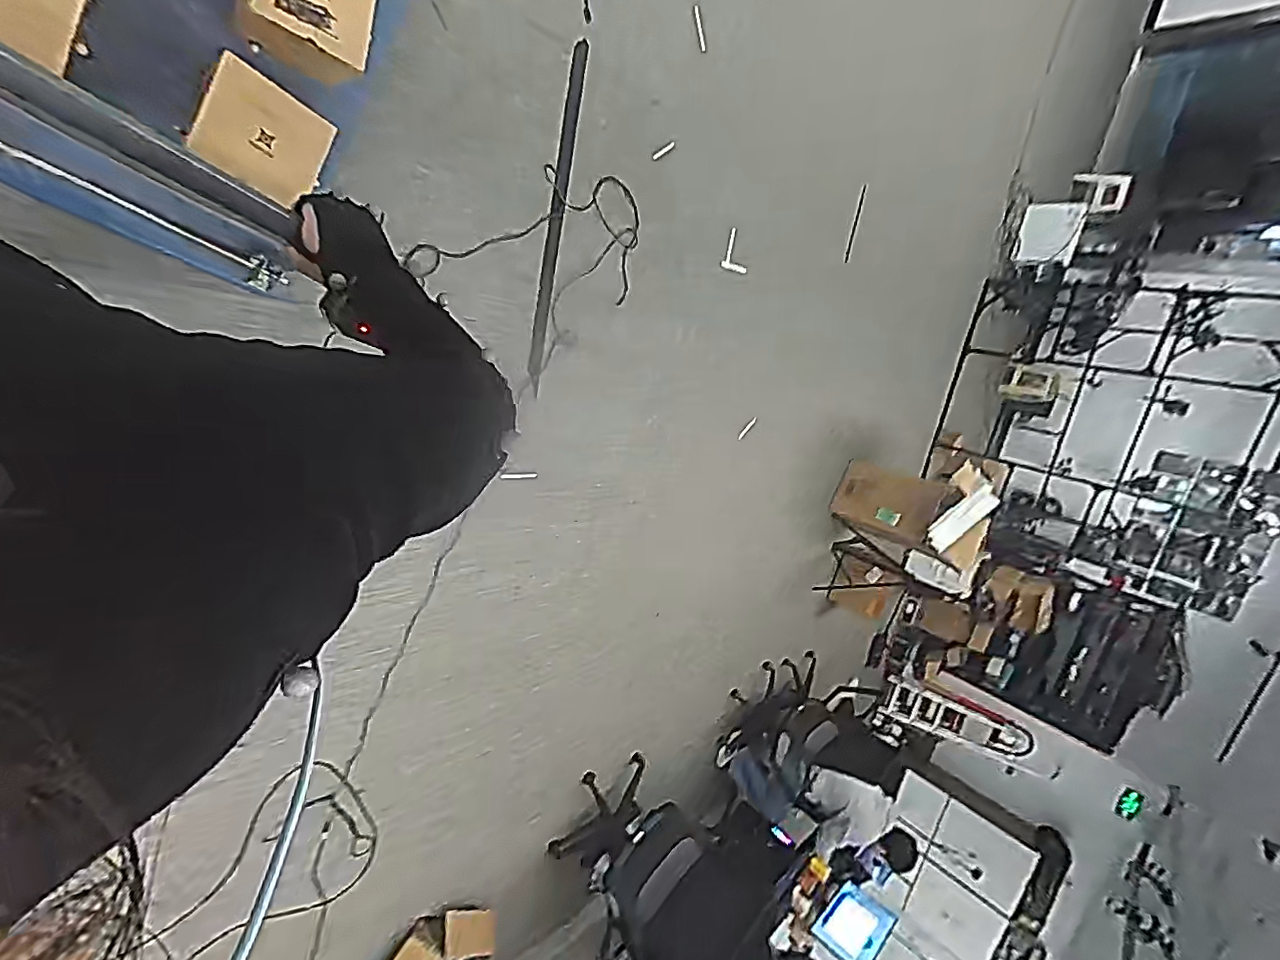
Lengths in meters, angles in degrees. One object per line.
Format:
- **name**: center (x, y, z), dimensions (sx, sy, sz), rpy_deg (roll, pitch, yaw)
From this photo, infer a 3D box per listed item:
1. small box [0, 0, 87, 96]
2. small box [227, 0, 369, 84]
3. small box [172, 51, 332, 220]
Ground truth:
- **small box**: center (-0.853, -0.642, 0.701), dimensions (0.168, 0.176, 0.179), rpy_deg (17, 95, -50)
- **small box**: center (-0.576, -0.813, 0.913), dimensions (0.168, 0.176, 0.179), rpy_deg (4, 104, -47)
- **small box**: center (-0.669, -0.573, 0.928), dimensions (0.168, 0.176, 0.179), rpy_deg (24, 90, -49)
